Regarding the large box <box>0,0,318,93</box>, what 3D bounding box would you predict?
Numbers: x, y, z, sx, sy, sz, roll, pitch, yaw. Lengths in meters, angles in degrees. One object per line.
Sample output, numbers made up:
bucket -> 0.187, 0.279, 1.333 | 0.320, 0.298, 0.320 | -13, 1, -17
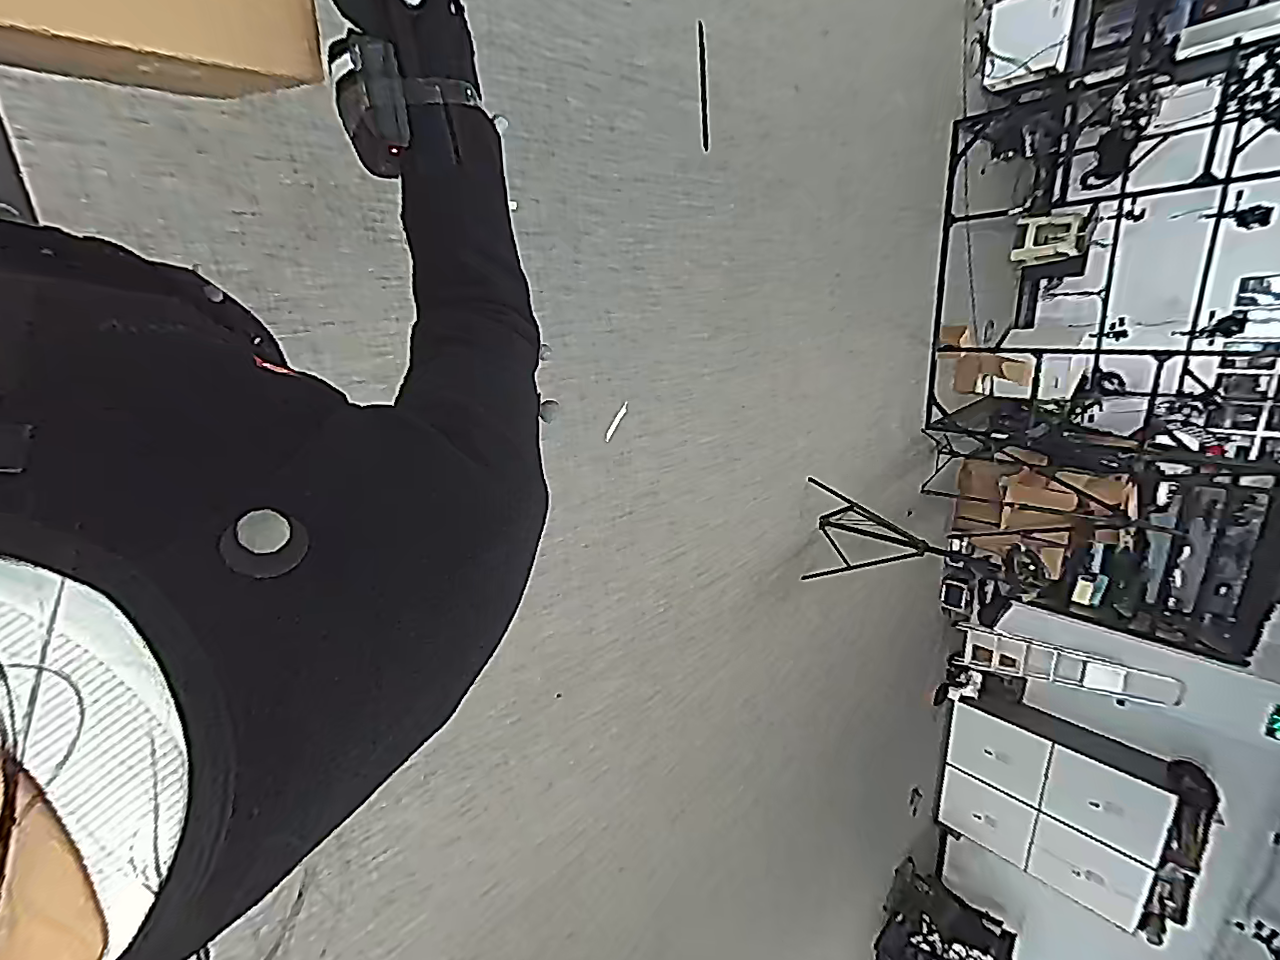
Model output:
large box -> -0.441, -0.399, 0.246 | 0.408, 0.320, 0.320 | -20, 129, -39
